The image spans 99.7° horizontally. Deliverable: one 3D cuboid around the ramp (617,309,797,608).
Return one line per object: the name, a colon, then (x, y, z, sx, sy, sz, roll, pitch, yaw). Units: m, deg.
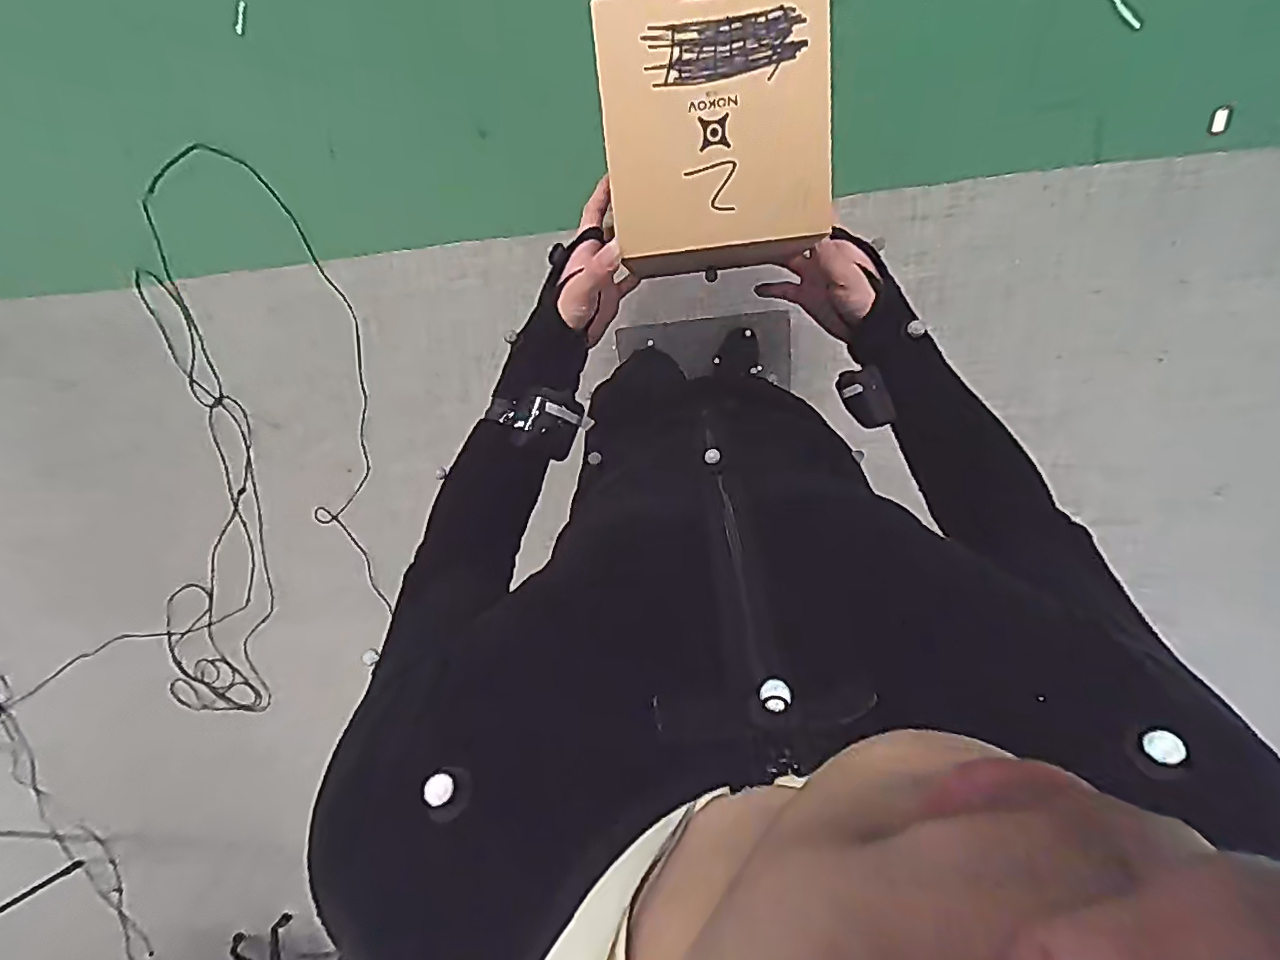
ramp: (0.240, -0.002, 1.699, 0.509, 0.206, 0.991, -6, 106, 9)
